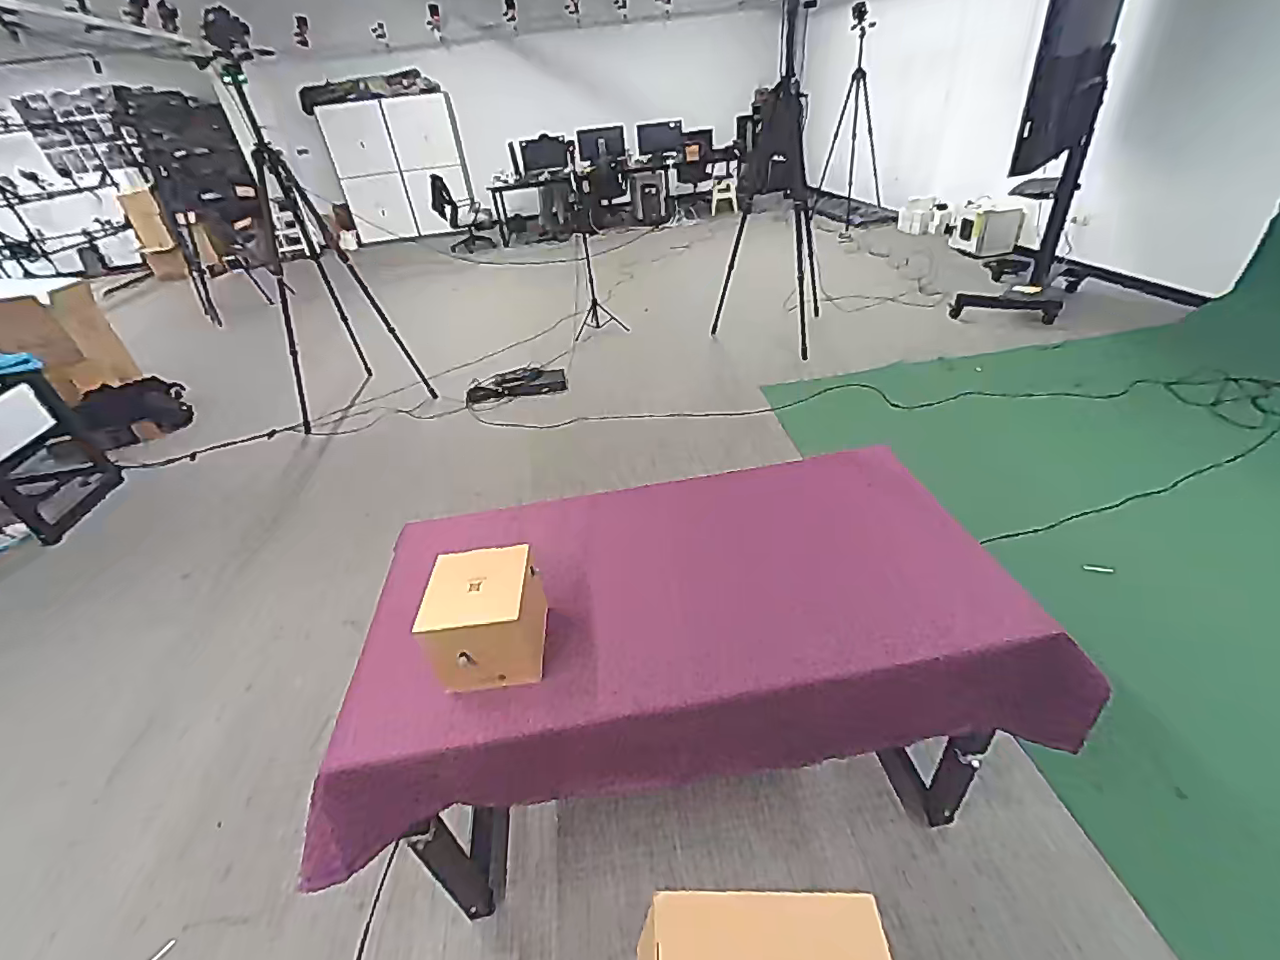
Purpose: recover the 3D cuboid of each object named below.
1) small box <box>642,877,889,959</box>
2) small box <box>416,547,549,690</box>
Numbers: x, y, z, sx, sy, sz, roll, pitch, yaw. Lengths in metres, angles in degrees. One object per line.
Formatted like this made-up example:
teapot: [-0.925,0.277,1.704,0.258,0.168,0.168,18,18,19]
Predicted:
small box: [0.090,0.429,0.412,0.179,0.176,0.168,3,39,-2]
small box: [-0.259,0.245,0.939,0.168,0.176,0.179,-8,34,0]
